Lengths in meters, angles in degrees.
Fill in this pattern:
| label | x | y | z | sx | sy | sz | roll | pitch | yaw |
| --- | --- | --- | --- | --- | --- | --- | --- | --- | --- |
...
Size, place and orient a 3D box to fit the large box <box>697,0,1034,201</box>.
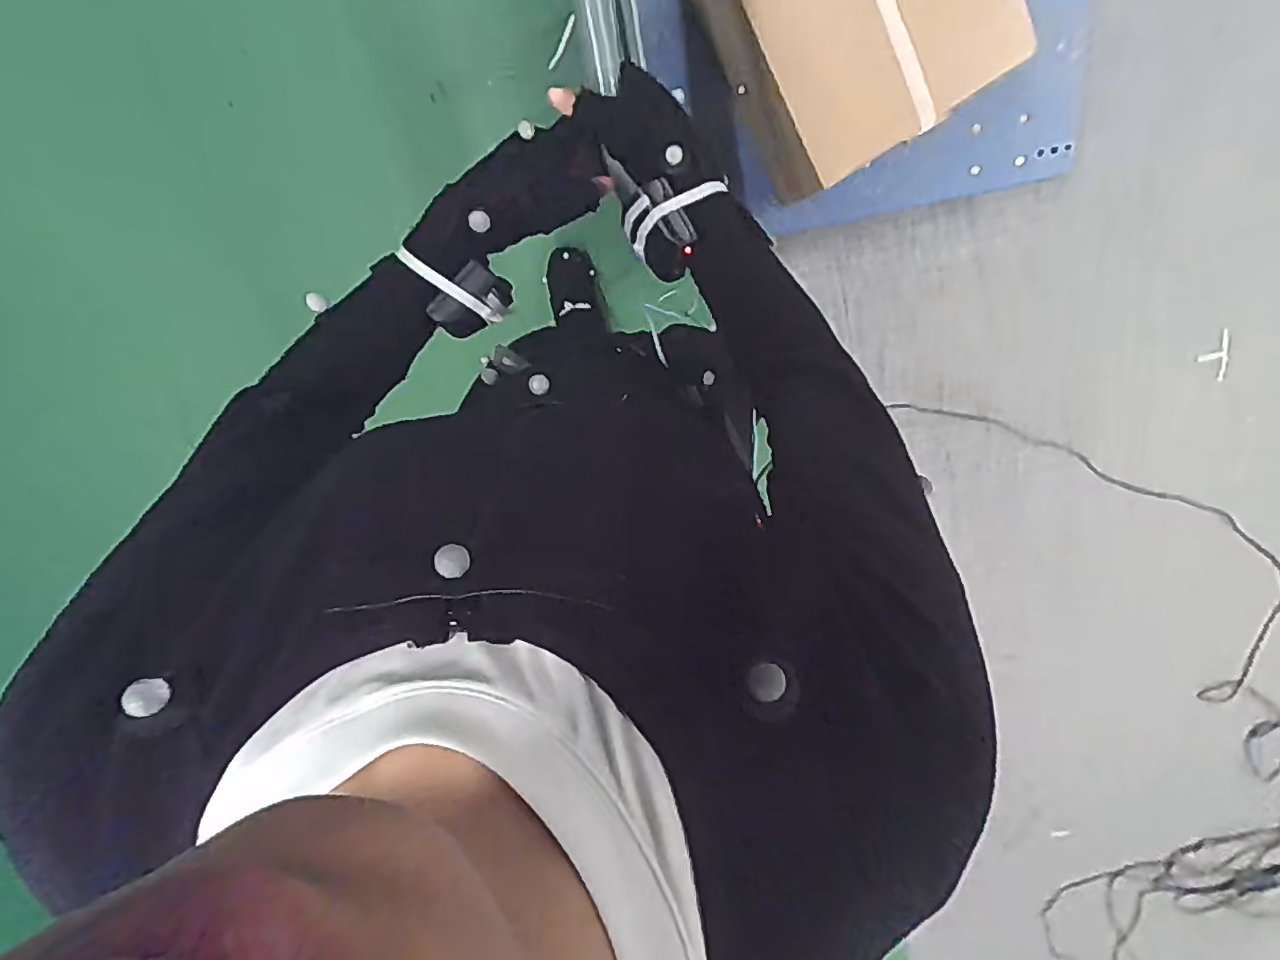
| label | x | y | z | sx | sy | sz | roll | pitch | yaw |
| --- | --- | --- | --- | --- | --- | --- | --- | --- | --- |
| large box | 0.313 | -0.721 | 0.846 | 0.320 | 0.320 | 0.408 | -28 | 108 | 14 |
